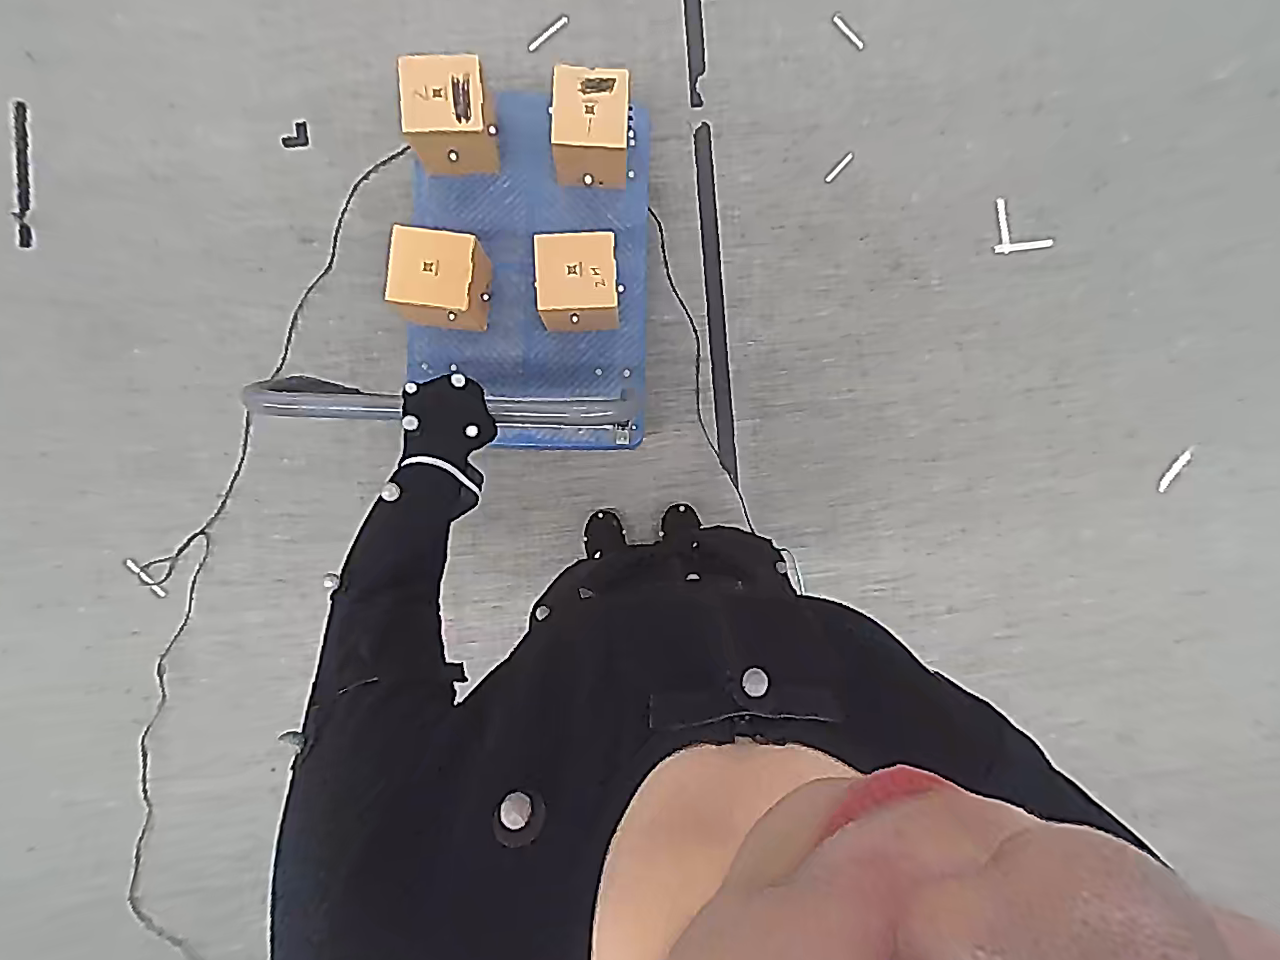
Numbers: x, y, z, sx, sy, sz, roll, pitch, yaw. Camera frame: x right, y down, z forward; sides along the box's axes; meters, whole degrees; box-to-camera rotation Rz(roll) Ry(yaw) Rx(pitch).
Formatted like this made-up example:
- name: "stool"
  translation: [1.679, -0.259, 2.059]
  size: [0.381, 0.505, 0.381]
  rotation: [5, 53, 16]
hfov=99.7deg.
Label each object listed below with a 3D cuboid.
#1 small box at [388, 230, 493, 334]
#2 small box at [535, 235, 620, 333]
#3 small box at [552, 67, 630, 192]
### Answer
- name: "small box"
  translation: [-0.447, -0.443, 1.233]
  size: [0.179, 0.176, 0.168]
  rotation: [5, 88, -4]
- name: "small box"
  translation: [-0.138, -0.443, 1.245]
  size: [0.179, 0.176, 0.168]
  rotation: [-3, 89, -2]
- name: "small box"
  translation: [-0.110, -0.803, 1.253]
  size: [0.168, 0.176, 0.179]
  rotation: [2, 90, -2]
